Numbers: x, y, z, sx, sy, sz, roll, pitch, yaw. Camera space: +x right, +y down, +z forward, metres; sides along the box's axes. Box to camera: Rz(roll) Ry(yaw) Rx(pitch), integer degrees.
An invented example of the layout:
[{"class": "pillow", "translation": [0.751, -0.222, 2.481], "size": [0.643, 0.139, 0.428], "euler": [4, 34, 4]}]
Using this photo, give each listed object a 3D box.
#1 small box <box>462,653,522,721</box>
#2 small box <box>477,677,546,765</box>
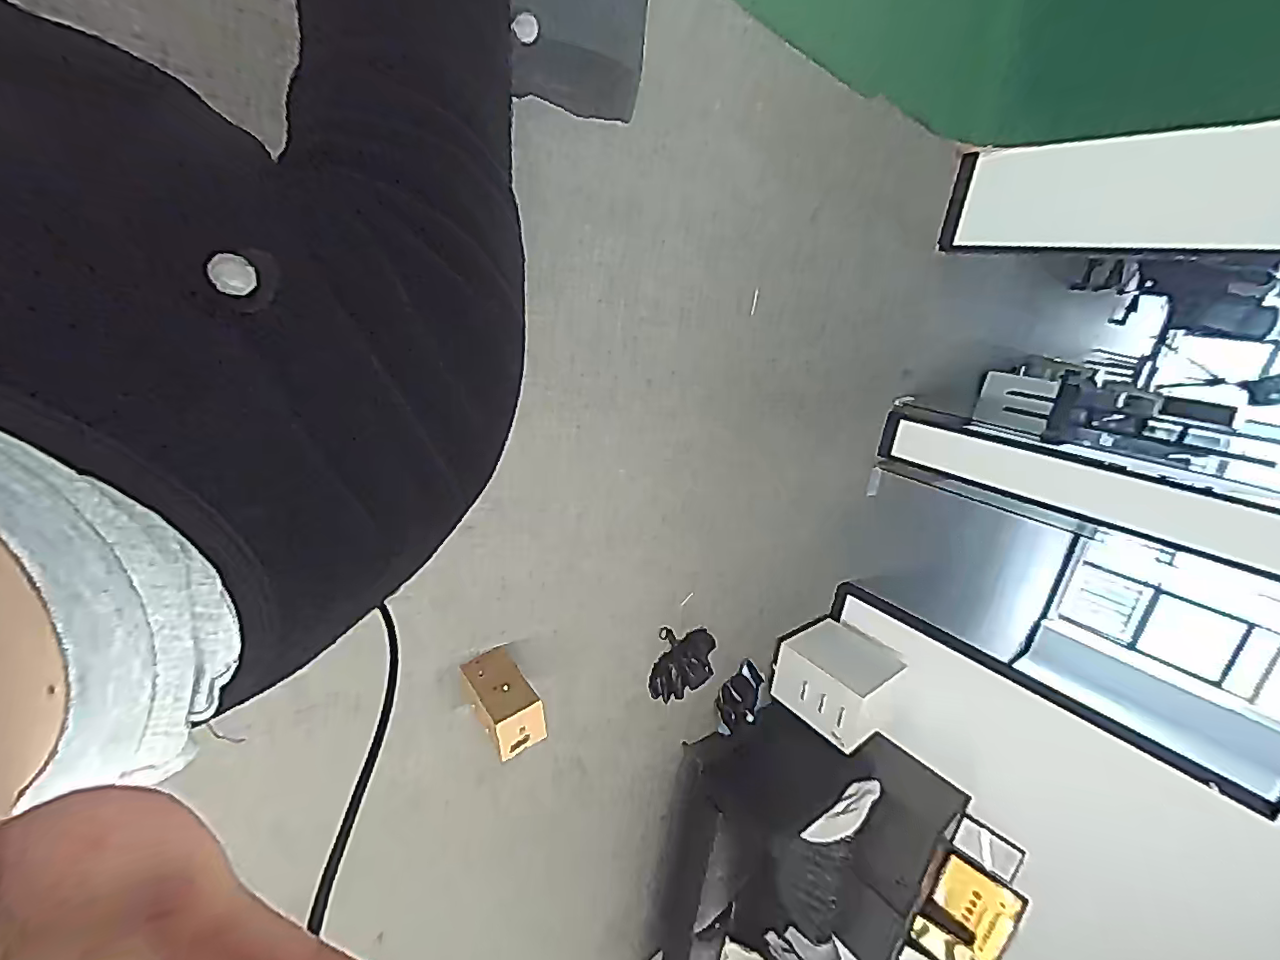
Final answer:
[{"class": "small box", "translation": [-0.529, 0.754, 1.955], "size": [0.168, 0.176, 0.179], "euler": [-20, 123, -31]}, {"class": "small box", "translation": [-0.435, 0.807, 1.831], "size": [0.168, 0.176, 0.179], "euler": [-19, 120, -32]}]
